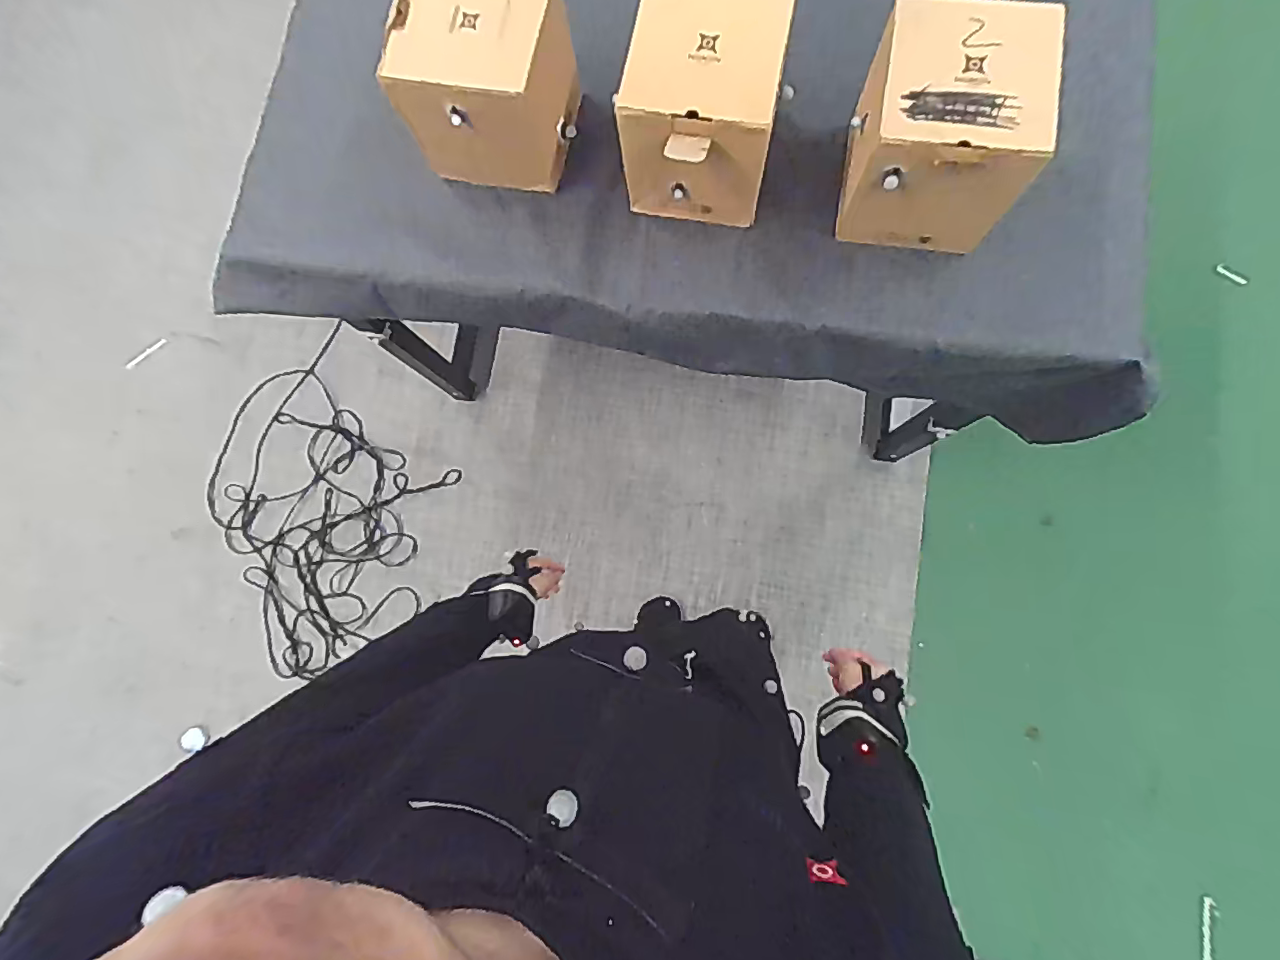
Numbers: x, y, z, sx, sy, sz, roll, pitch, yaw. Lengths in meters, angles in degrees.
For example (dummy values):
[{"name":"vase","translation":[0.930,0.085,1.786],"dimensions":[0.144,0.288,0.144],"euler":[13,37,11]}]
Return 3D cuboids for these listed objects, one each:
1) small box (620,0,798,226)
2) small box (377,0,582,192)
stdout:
[{"name":"small box","translation":[0.078,-0.444,0.652],"dimensions":[0.168,0.176,0.179],"euler":[11,82,6]},{"name":"small box","translation":[-0.185,-0.495,0.680],"dimensions":[0.179,0.176,0.168],"euler":[12,83,5]}]
